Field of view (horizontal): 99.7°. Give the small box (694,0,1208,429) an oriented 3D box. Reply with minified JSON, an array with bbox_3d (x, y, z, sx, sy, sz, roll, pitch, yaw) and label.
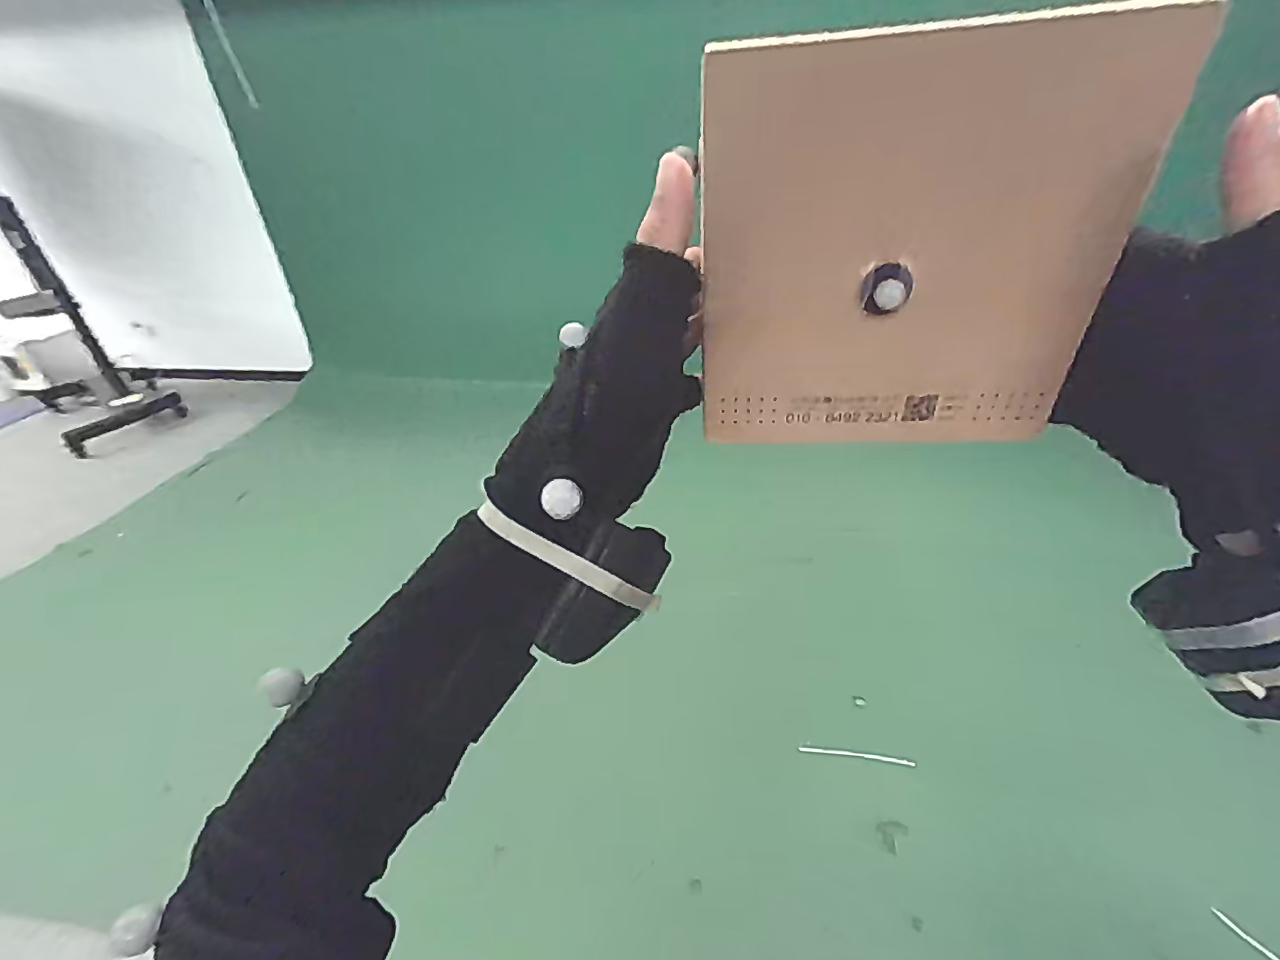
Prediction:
[{"bbox_3d":[0.116,-0.138,0.293,0.168,0.176,0.179,0,36,7],"label":"small box"}]
